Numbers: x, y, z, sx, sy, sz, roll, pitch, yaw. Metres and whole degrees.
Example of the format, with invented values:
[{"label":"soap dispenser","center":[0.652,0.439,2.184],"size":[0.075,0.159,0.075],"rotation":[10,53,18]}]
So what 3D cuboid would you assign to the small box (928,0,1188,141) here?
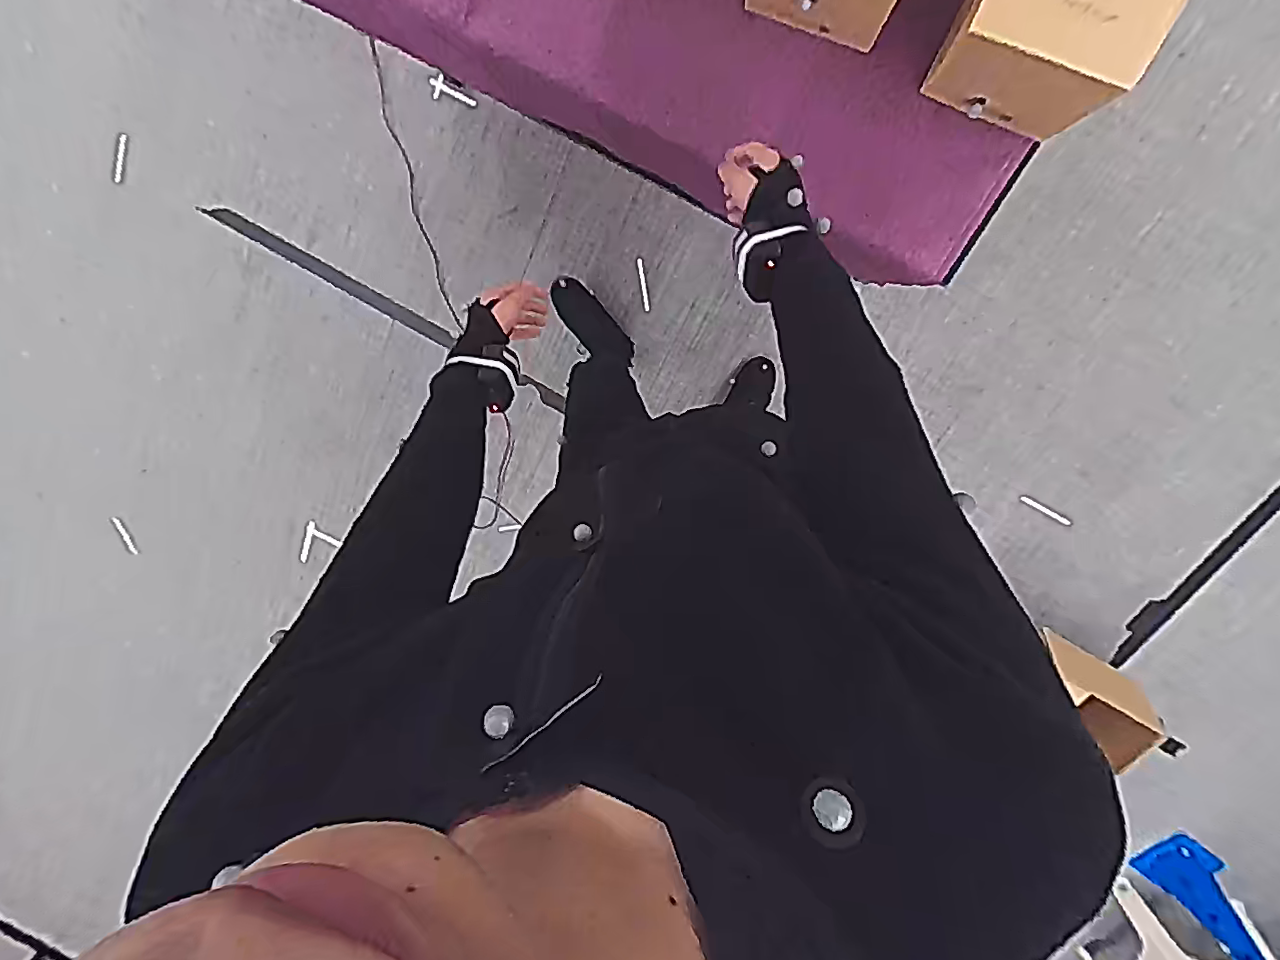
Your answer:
[{"label":"small box","center":[0.435,-0.495,0.559],"size":[0.168,0.176,0.179],"rotation":[25,109,3]}]

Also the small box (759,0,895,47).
[{"label":"small box","center":[0.222,-0.604,0.562],"size":[0.168,0.176,0.179],"rotation":[22,109,2]}]
